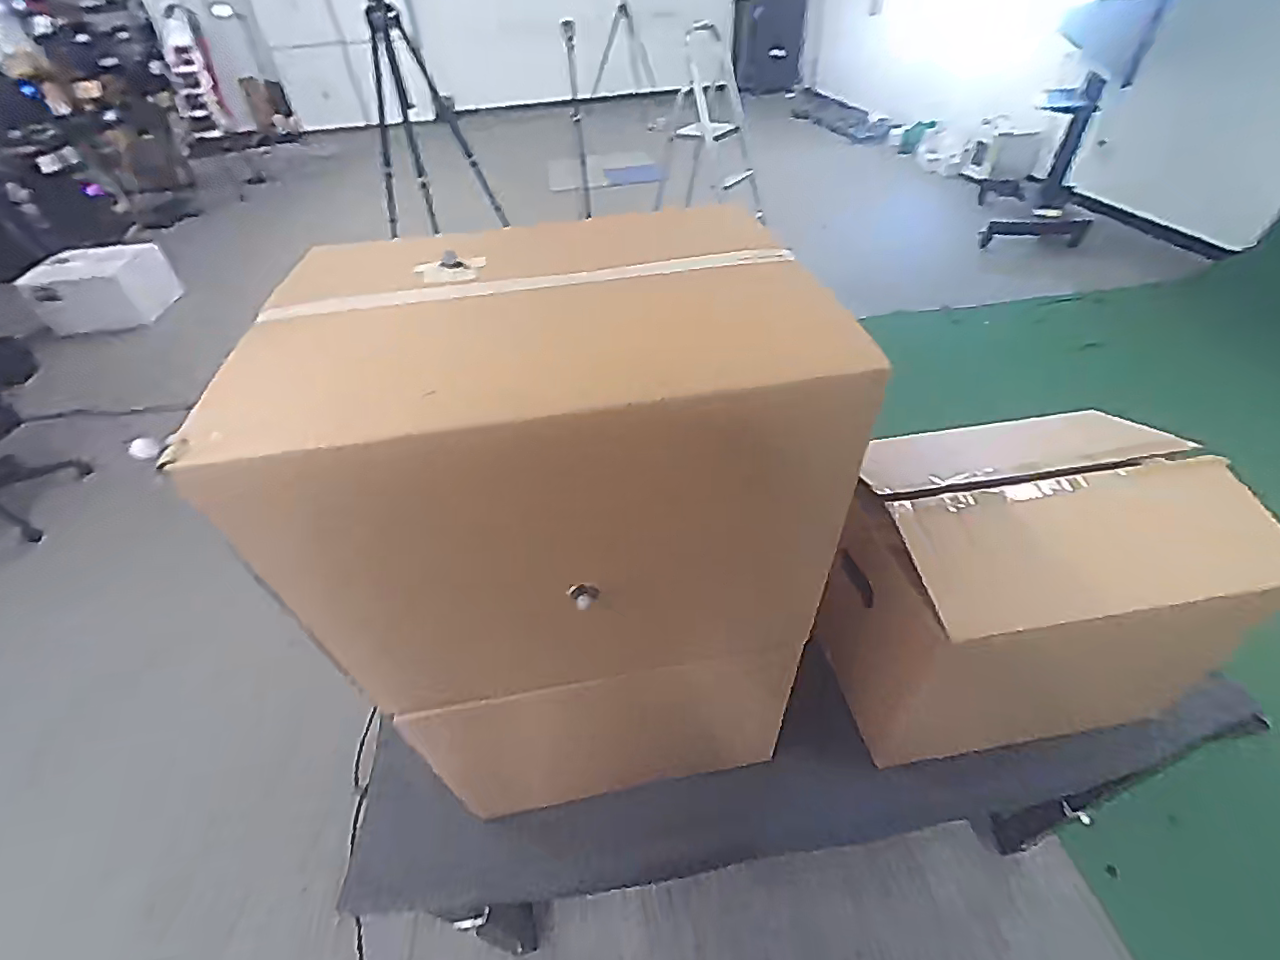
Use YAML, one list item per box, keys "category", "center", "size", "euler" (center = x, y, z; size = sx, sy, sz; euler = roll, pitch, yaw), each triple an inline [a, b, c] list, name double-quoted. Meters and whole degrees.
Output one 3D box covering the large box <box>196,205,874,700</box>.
- category: "large box"
  center: [-0.066, -0.031, 0.520]
  size: [0.408, 0.320, 0.320]
  euler: [-9, 44, -5]
